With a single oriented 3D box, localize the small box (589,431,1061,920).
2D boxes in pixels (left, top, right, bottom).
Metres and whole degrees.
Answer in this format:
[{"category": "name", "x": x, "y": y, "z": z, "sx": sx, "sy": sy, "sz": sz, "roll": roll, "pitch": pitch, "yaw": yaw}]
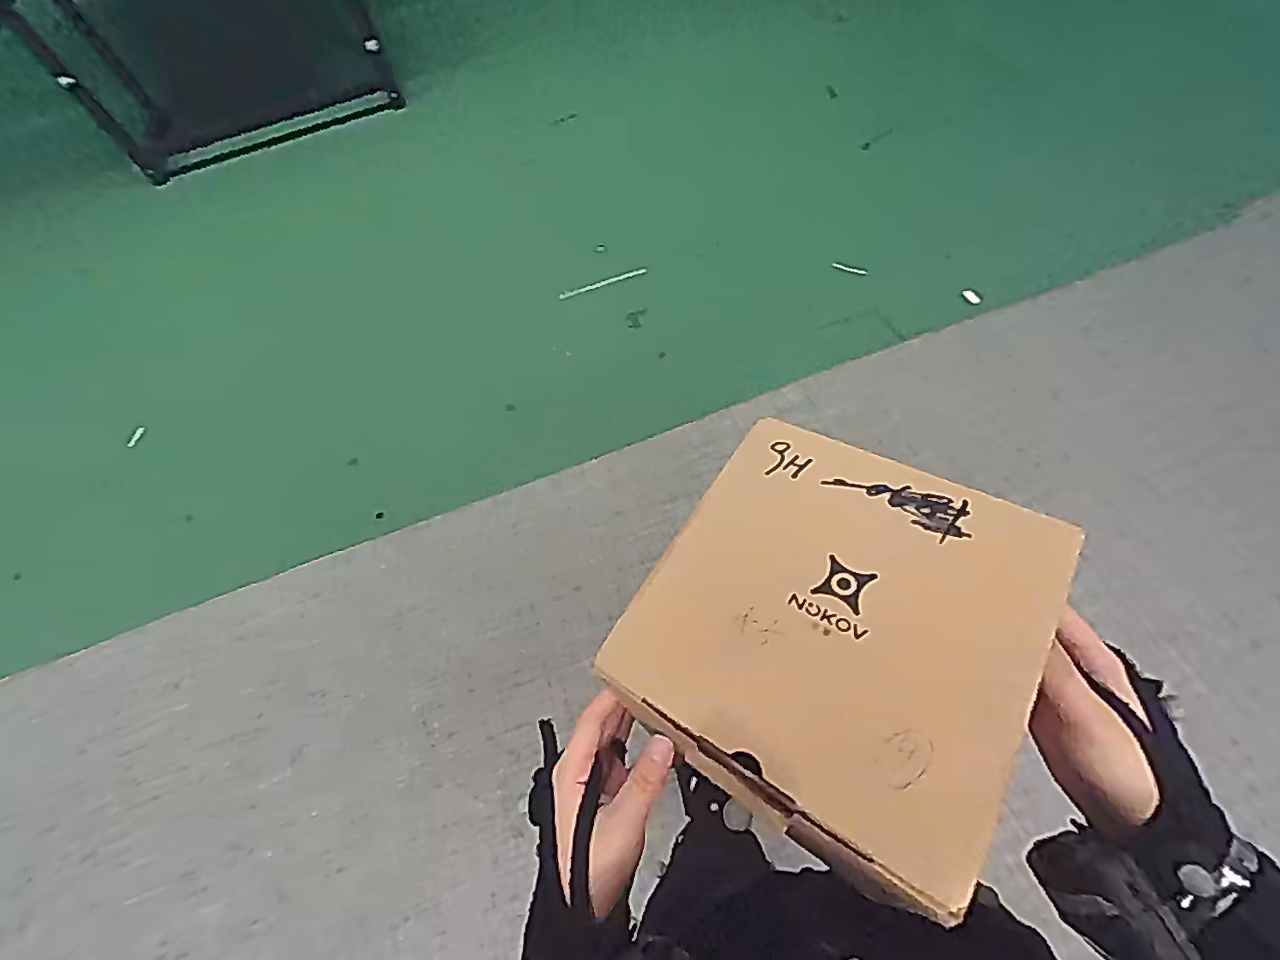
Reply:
[{"category": "small box", "x": 0.102, "y": 0.108, "z": 0.322, "sx": 0.168, "sy": 0.176, "sz": 0.179, "roll": 25, "pitch": 64, "yaw": 27}]
